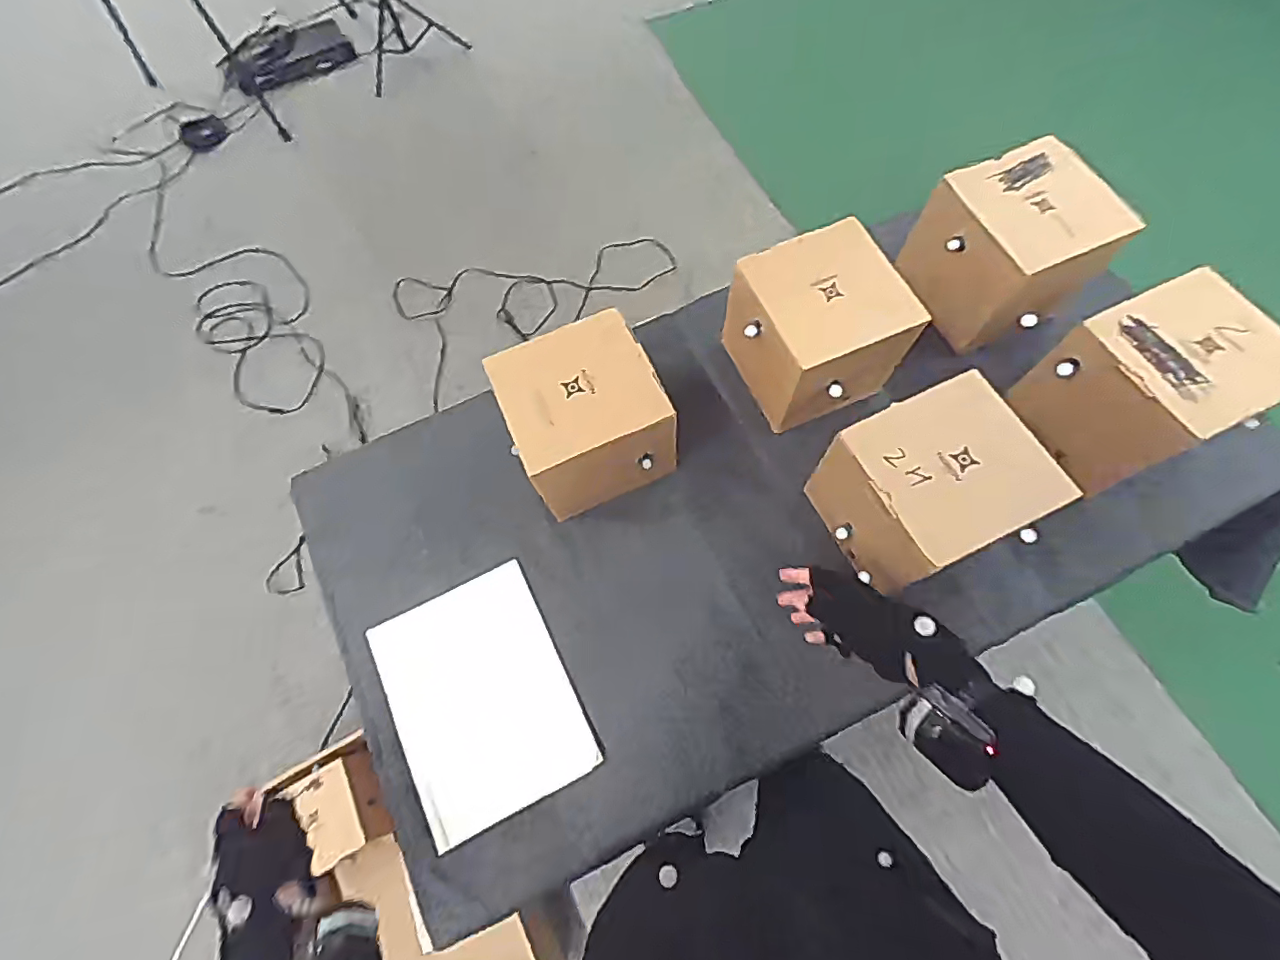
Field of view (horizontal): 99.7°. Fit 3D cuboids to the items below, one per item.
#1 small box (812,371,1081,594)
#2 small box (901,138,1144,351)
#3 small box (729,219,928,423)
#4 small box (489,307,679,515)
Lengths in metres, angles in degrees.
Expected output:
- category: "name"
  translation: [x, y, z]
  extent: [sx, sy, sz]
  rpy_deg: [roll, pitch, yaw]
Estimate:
- category: "small box"
  translation: [0.326, 0.012, 0.620]
  extent: [0.179, 0.176, 0.168]
  rpy_deg: [-25, 68, -5]
- category: "small box"
  translation: [0.494, -0.310, 0.735]
  extent: [0.168, 0.176, 0.179]
  rpy_deg: [-23, 70, -4]
- category: "small box"
  translation: [0.229, -0.194, 0.711]
  extent: [0.168, 0.176, 0.179]
  rpy_deg: [-22, 69, -5]
- category: "small box"
  translation: [-0.064, -0.078, 0.683]
  extent: [0.179, 0.176, 0.168]
  rpy_deg: [-23, 69, -6]
